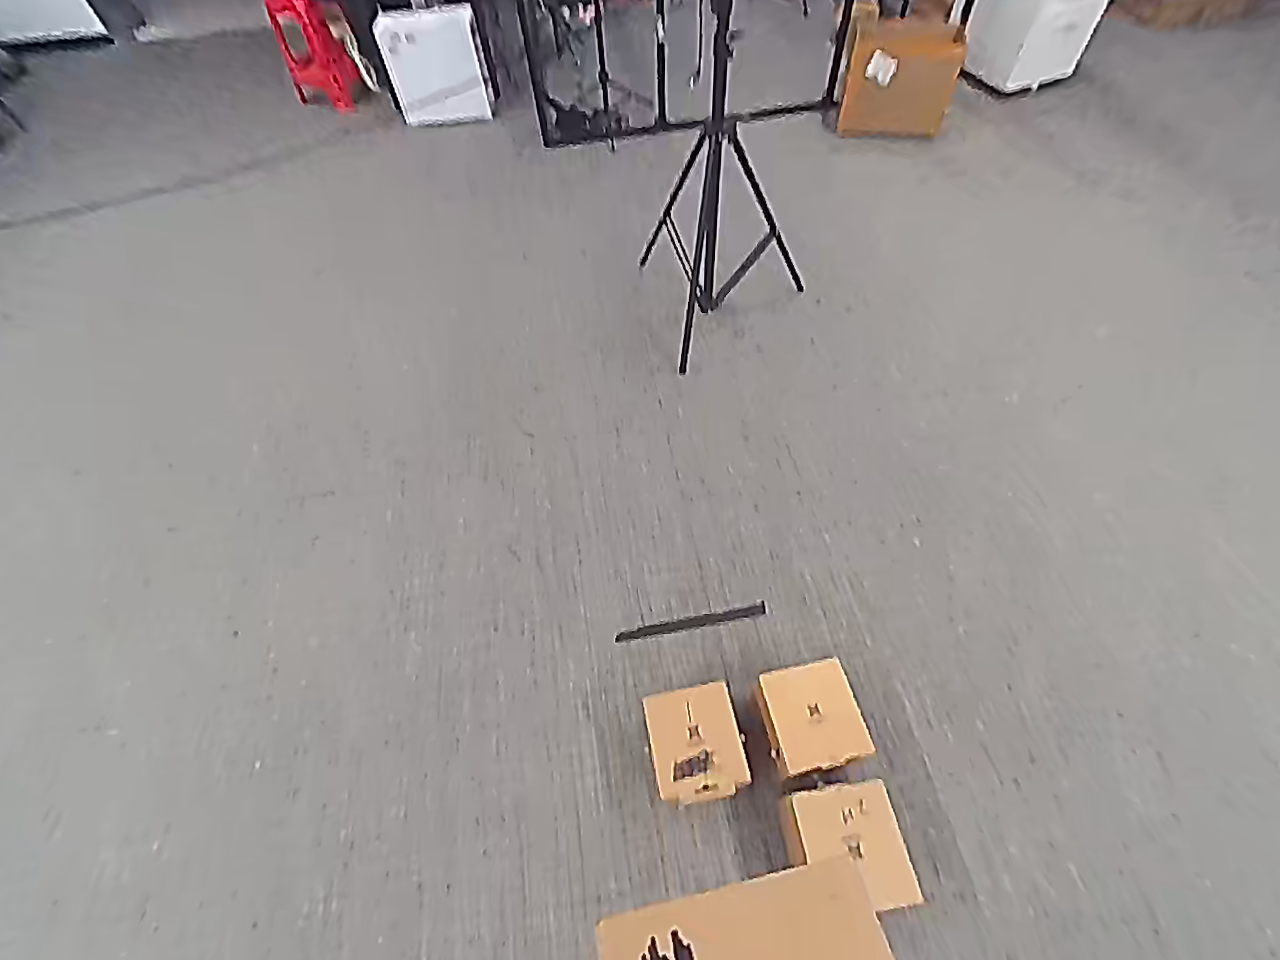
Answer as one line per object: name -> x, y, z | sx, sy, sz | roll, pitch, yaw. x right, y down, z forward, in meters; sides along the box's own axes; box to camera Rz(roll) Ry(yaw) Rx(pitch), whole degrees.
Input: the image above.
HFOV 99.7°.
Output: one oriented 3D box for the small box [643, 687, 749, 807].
small box -> 0.106, 0.528, 1.059 | 0.168, 0.176, 0.179 | -10, 55, -3
